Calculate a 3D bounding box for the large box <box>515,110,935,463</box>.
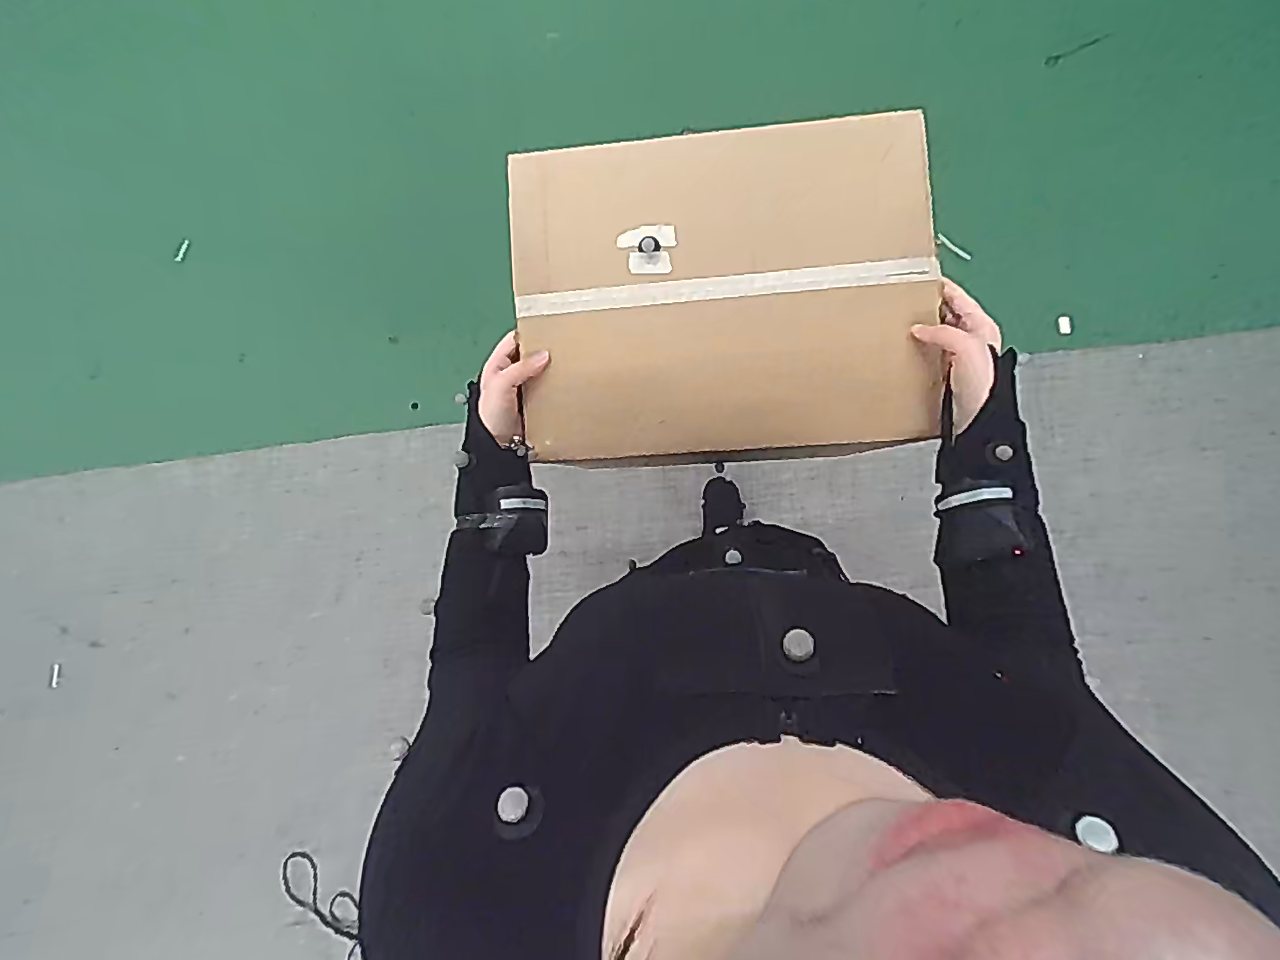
[{"bbox_3d":[0.094,-0.190,0.687,0.408,0.320,0.320,-4,89,7],"label":"large box"}]
